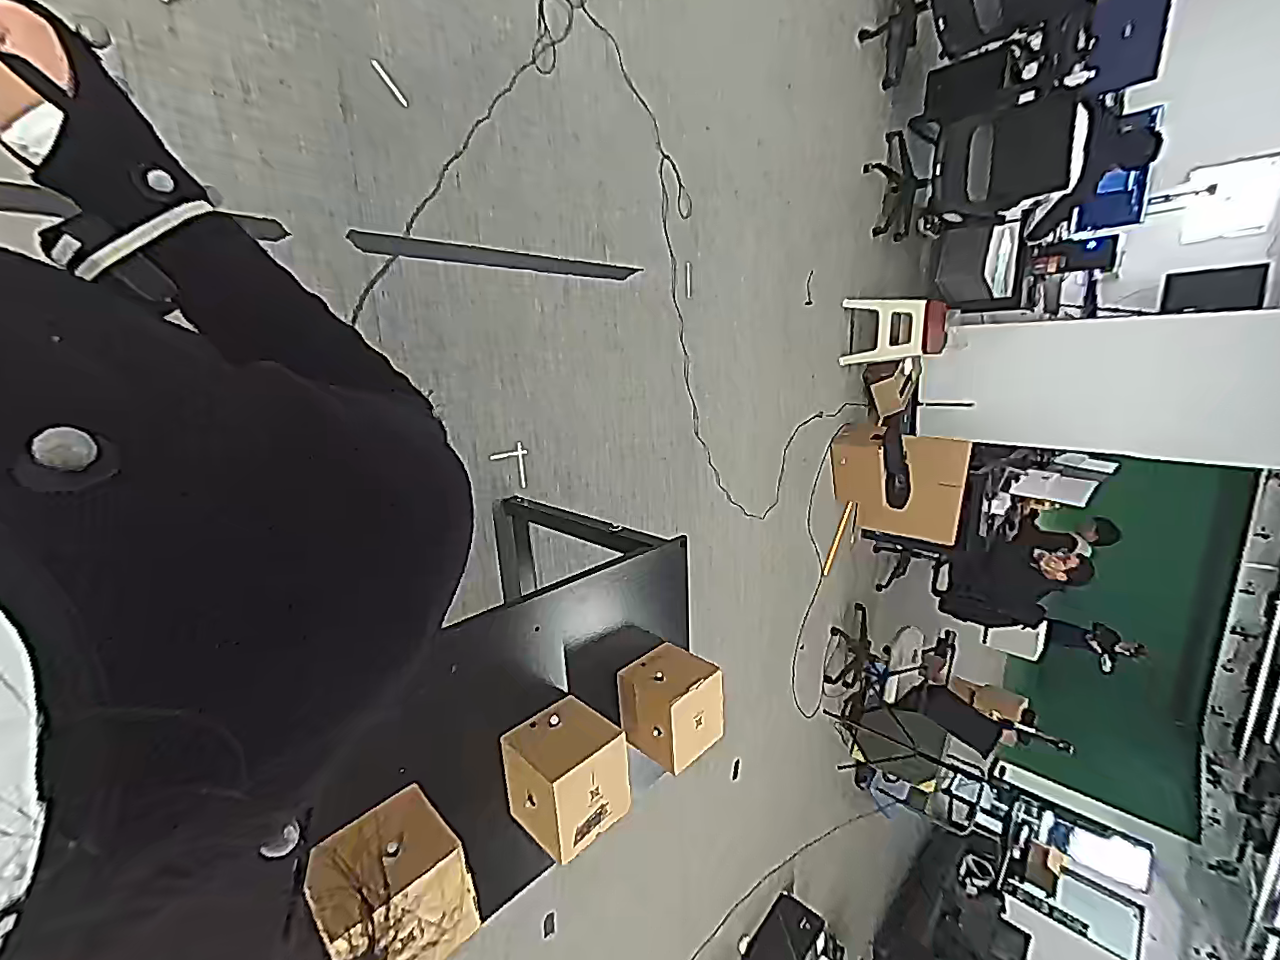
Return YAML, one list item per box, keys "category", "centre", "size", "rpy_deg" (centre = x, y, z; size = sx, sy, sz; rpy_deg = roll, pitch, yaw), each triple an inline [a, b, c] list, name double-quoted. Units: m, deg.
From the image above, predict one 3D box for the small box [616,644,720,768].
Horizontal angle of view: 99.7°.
- category: "small box"
  centre: [0.060, 0.488, 1.206]
  size: [0.168, 0.176, 0.179]
  rpy_deg: [-18, 111, -41]

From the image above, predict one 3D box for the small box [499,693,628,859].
- category: "small box"
  centre: [-0.143, 0.538, 1.009]
  size: [0.168, 0.176, 0.179]
  rpy_deg: [-17, 109, -43]

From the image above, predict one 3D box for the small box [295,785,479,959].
- category: "small box"
  centre: [-0.367, 0.596, 0.791]
  size: [0.179, 0.176, 0.168]
  rpy_deg: [-22, 113, -42]
